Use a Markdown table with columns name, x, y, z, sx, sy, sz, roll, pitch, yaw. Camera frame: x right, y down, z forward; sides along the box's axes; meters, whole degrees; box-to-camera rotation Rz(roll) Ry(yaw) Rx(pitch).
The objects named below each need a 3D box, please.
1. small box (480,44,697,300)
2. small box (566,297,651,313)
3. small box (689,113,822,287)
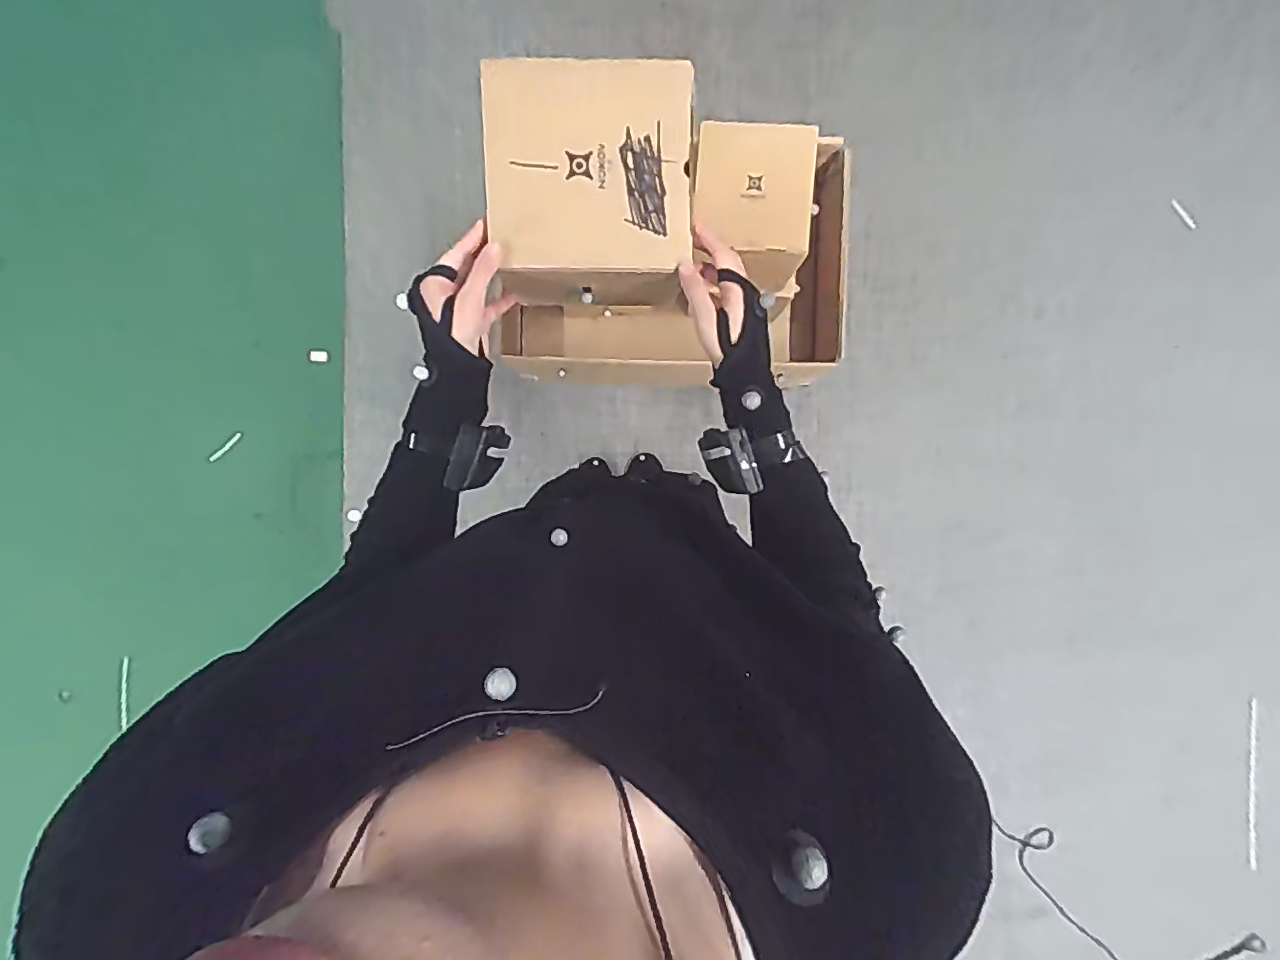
| name | x | y | z | sx | sy | sz | roll | pitch | yaw |
| --- | --- | --- | --- | --- | --- | --- | --- | --- | --- |
| small box | -0.045 | -0.276 | 0.524 | 0.179 | 0.176 | 0.168 | 0 | 98 | -2 |
| small box | -0.063 | -0.419 | 0.990 | 0.168 | 0.176 | 0.179 | -2 | 92 | 1 |
| small box | 0.164 | -0.414 | 0.823 | 0.168 | 0.176 | 0.179 | 5 | 92 | 2 |
